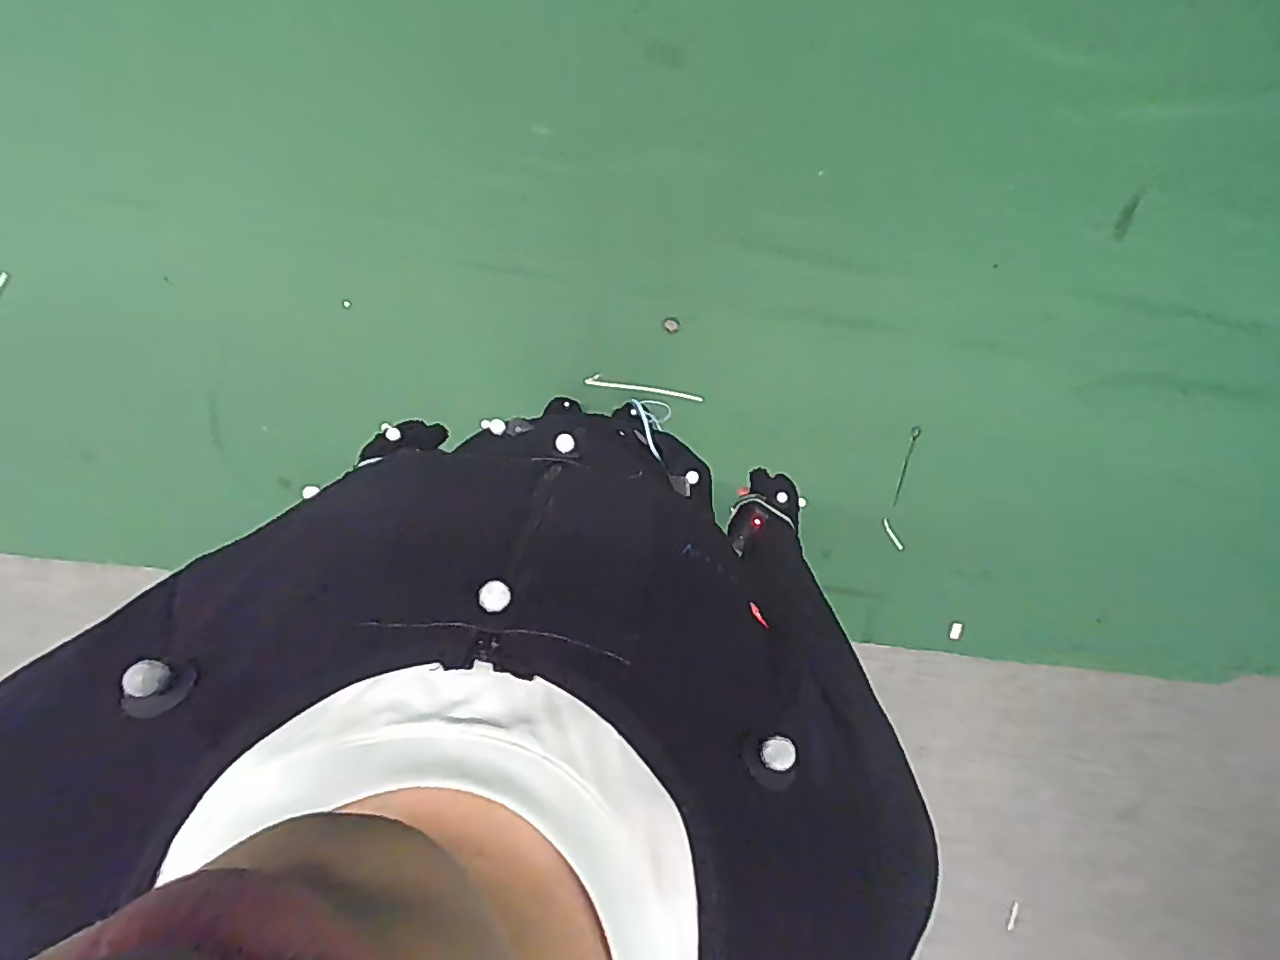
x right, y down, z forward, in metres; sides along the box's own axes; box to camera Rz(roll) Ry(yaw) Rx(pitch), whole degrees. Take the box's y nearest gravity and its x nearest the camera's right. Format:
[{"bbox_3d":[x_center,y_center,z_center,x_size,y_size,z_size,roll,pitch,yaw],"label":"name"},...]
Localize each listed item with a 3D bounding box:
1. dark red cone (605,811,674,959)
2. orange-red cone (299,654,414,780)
[{"bbox_3d":[0.005,1.105,1.458,0.202,0.394,0.201,2,97,-3],"label":"dark red cone"},{"bbox_3d":[-0.741,0.623,1.368,0.198,0.360,0.199,8,99,-3],"label":"orange-red cone"}]
